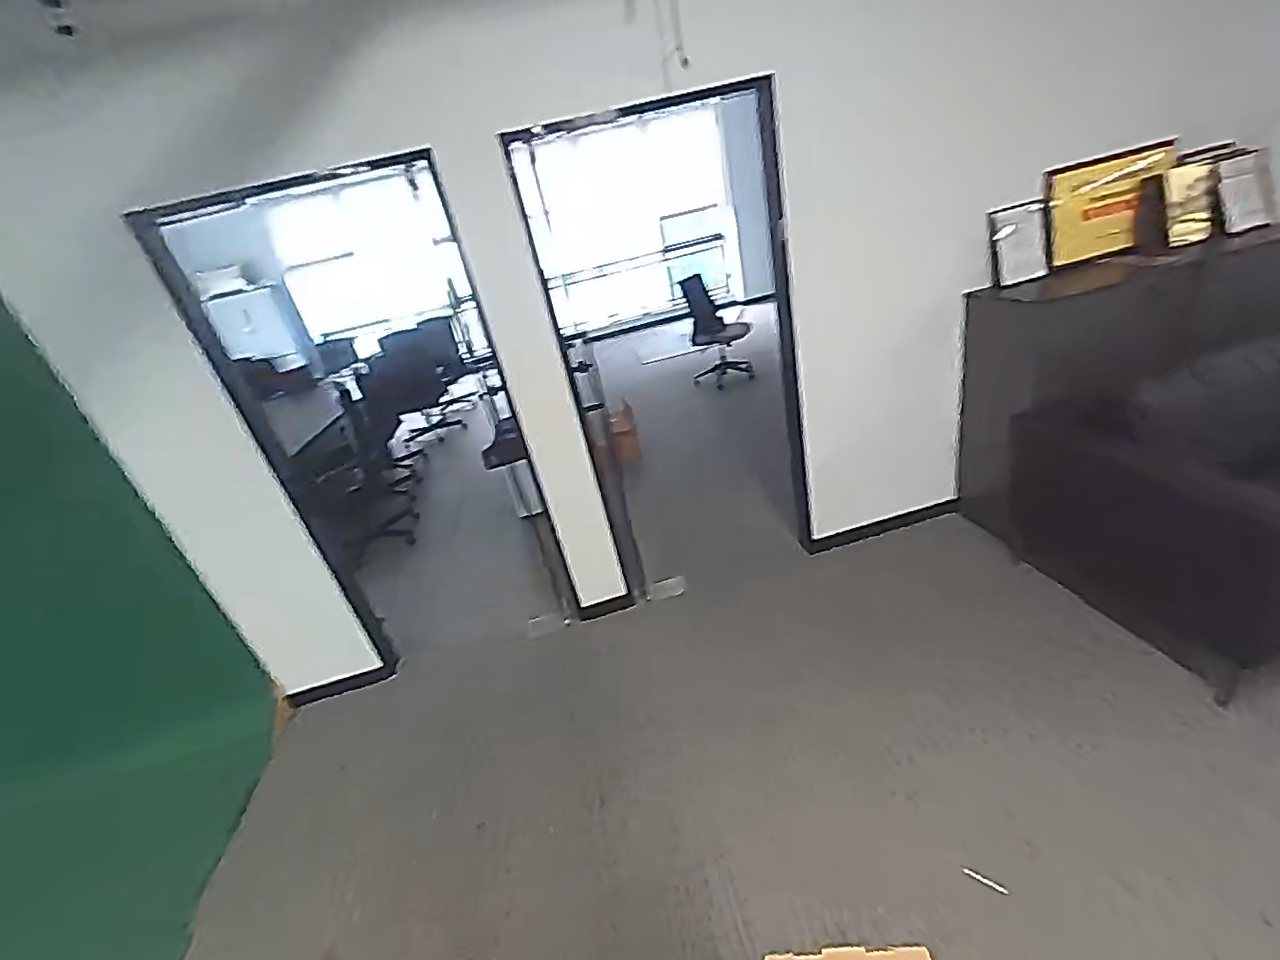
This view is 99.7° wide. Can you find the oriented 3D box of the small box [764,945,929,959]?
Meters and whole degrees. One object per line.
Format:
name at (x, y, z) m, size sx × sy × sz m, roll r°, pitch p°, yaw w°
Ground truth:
small box at (0.214, 0.583, 0.501) m, size 0.168 × 0.176 × 0.179 m, roll -8°, pitch 23°, yaw 5°
